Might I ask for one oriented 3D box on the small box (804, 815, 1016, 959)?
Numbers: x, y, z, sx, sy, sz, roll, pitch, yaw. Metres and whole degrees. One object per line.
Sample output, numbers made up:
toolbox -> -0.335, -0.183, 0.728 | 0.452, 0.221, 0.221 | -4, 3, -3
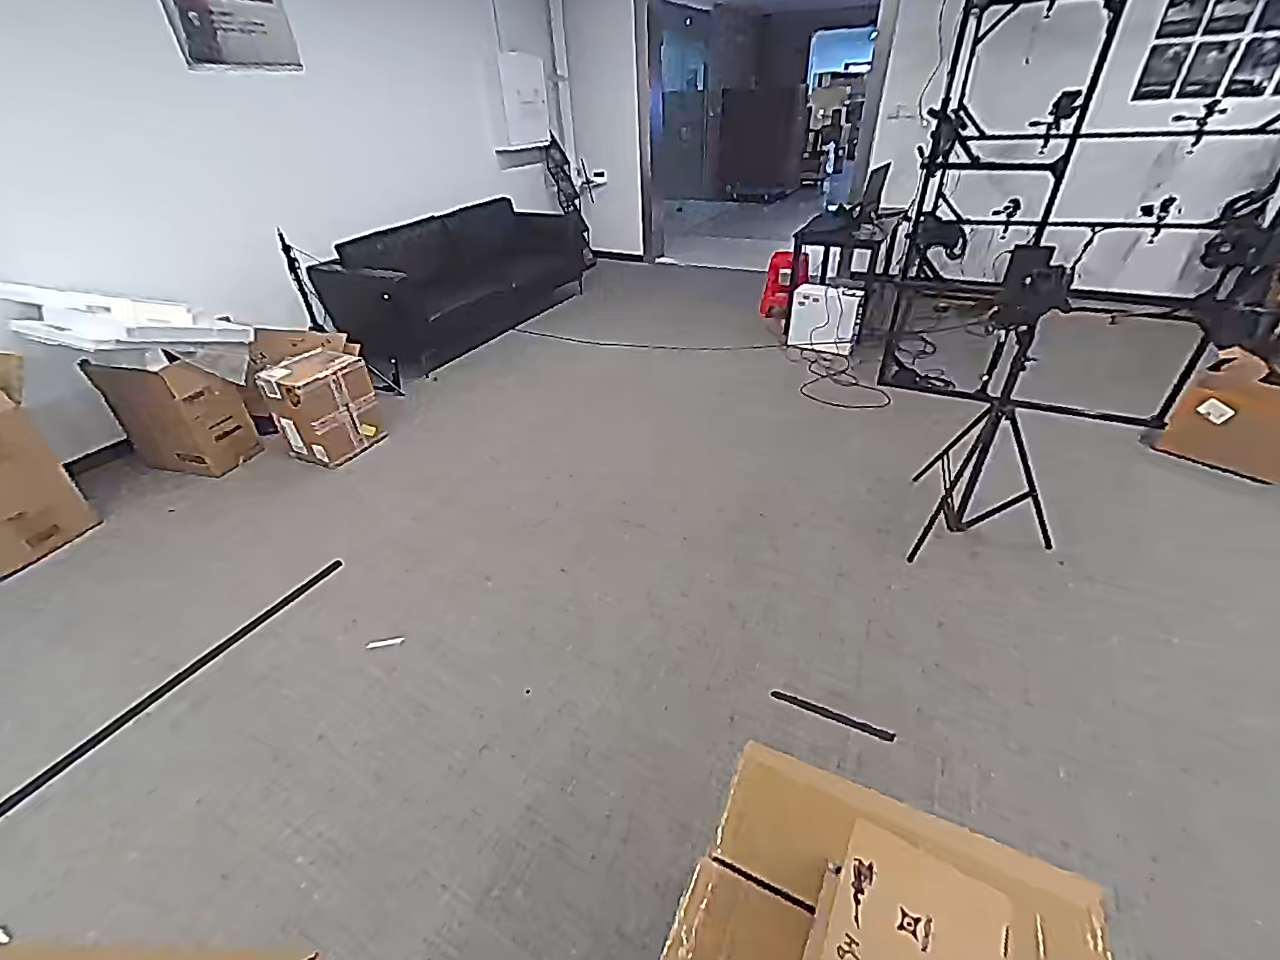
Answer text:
small box -> 0.317, 0.553, 0.655 | 0.179, 0.176, 0.168 | 19, 49, 24
